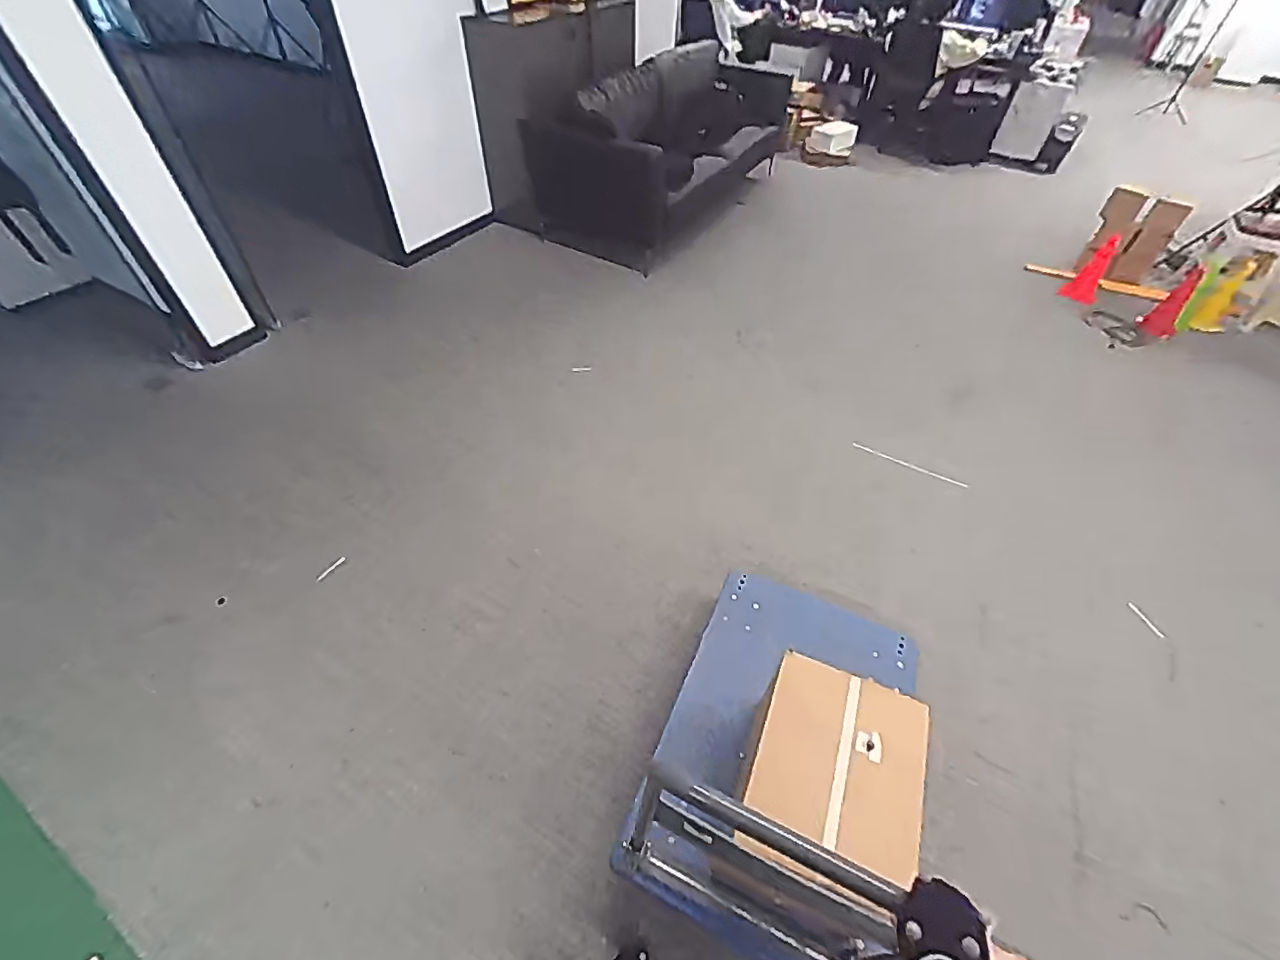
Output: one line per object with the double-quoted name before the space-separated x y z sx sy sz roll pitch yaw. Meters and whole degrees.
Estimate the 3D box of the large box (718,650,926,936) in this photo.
"large box" 0.385 0.663 1.165 0.320 0.320 0.408 20 48 14
